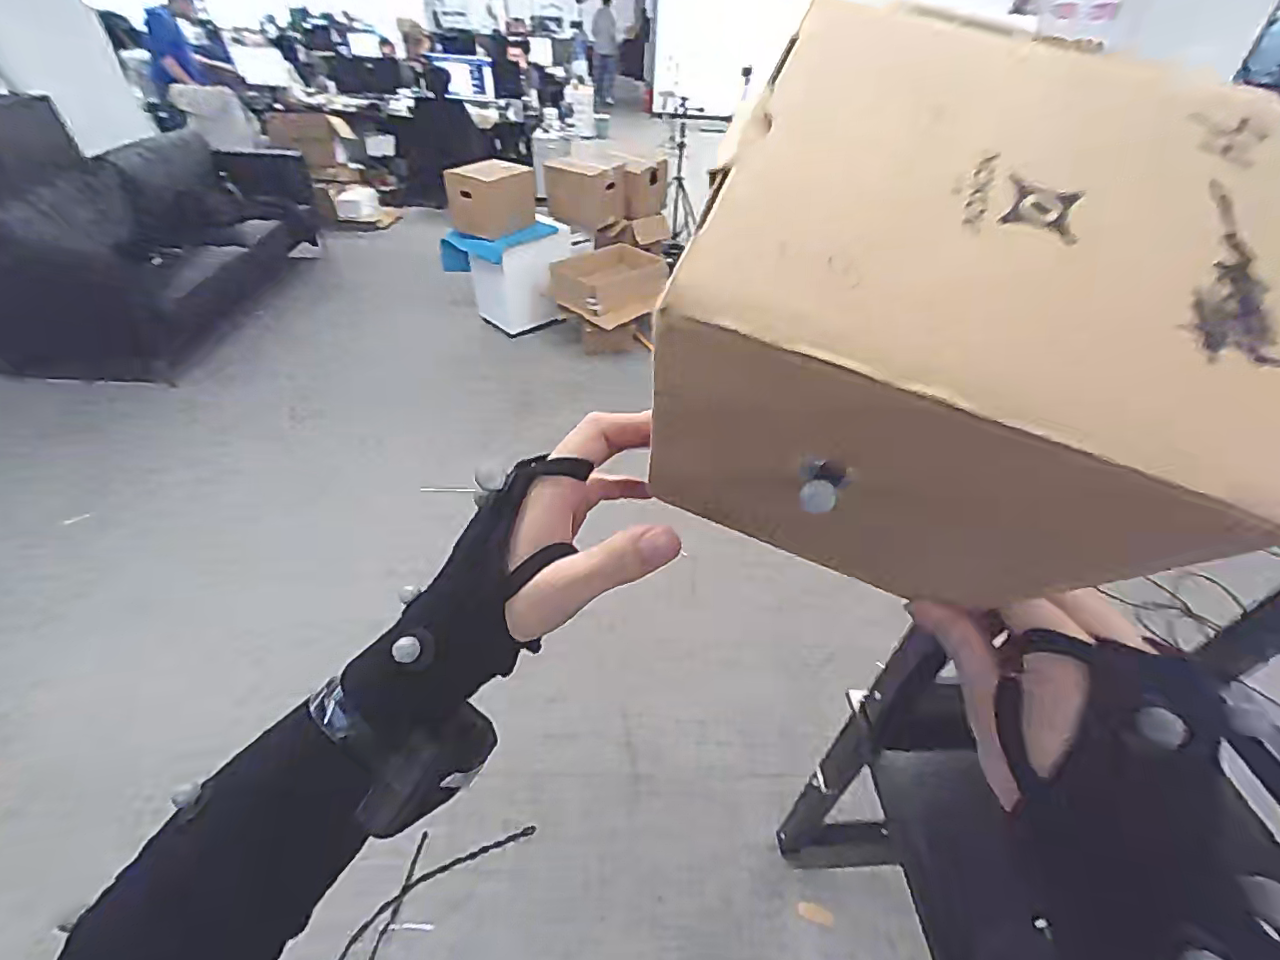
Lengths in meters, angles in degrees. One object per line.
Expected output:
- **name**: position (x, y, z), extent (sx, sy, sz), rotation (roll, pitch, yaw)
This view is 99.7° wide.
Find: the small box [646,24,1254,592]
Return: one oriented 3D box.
- **small box**: position (0.112, -0.061, 0.258), extent (0.179, 0.176, 0.168), rotation (21, 70, 9)
